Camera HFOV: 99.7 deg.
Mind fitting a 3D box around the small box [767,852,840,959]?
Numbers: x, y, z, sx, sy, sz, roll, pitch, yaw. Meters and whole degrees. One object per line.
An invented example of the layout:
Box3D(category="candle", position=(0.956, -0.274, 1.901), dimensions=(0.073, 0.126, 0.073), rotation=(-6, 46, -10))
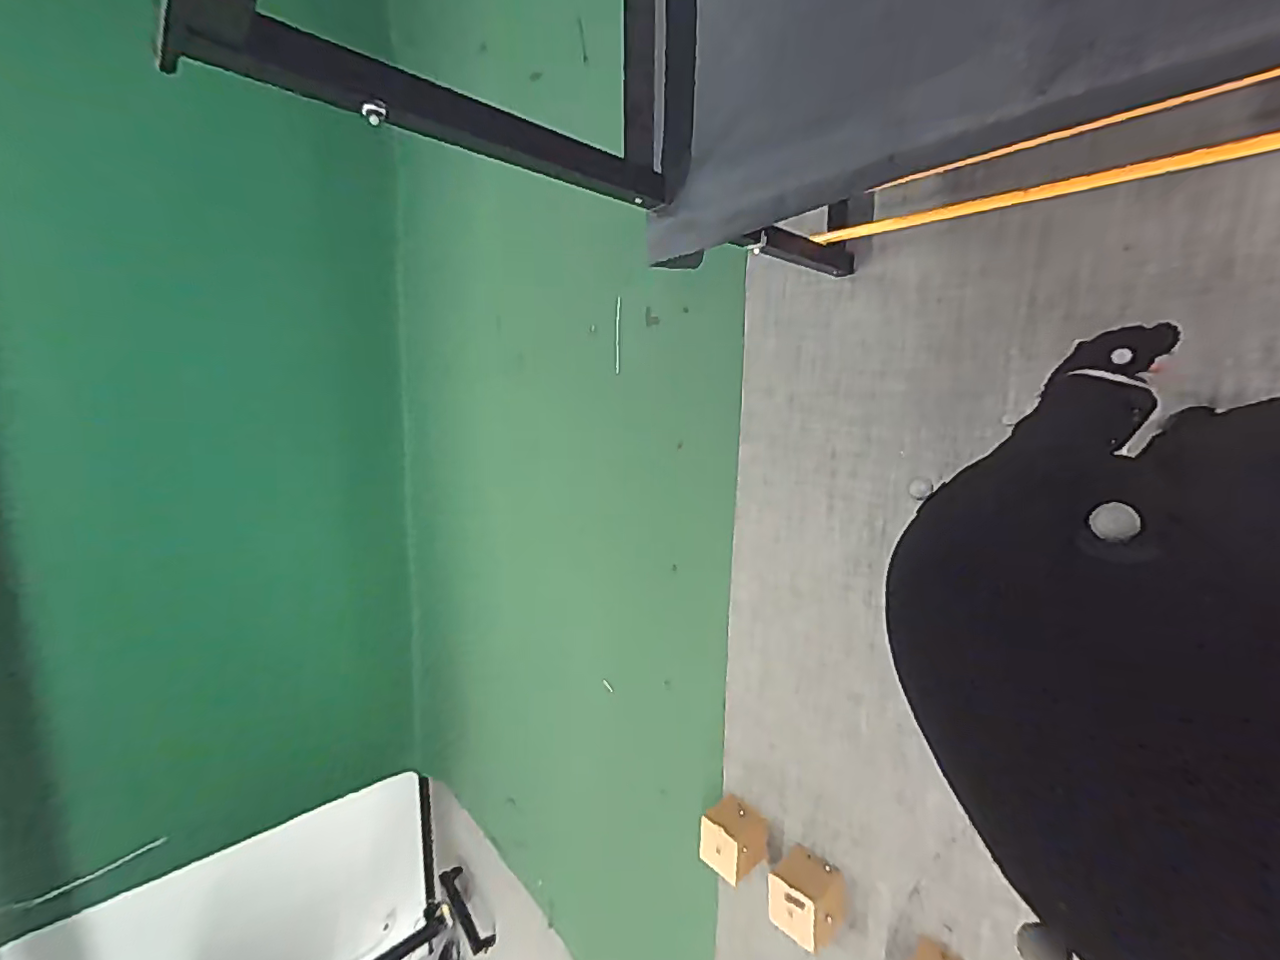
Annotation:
Box3D(category="small box", position=(0.519, 1.337, 1.715), dimensions=(0.168, 0.176, 0.179), rotation=(5, 99, 48))

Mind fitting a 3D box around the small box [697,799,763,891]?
Box3D(category="small box", position=(0.324, 1.293, 1.928), dimensions=(0.168, 0.176, 0.179), rotation=(10, 102, 46))

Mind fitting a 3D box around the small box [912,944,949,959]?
Box3D(category="small box", position=(0.788, 1.400, 1.422), dimensions=(0.168, 0.176, 0.179), rotation=(12, 103, 45))
